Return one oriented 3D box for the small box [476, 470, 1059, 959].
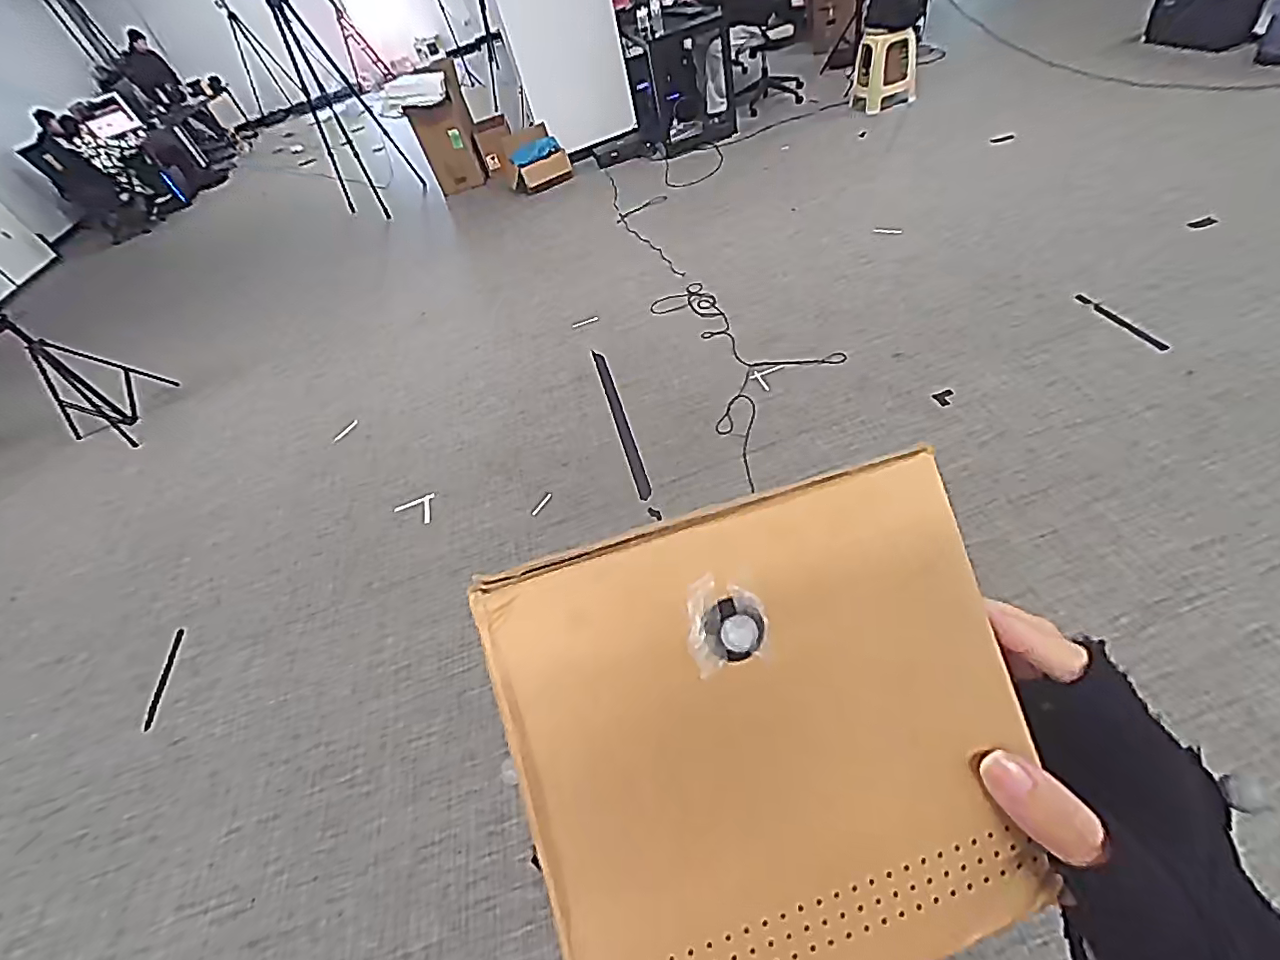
[{"bbox_3d":[0.044,0.108,0.262,0.179,0.168,0.176,-16,85,-6],"label":"small box"}]
